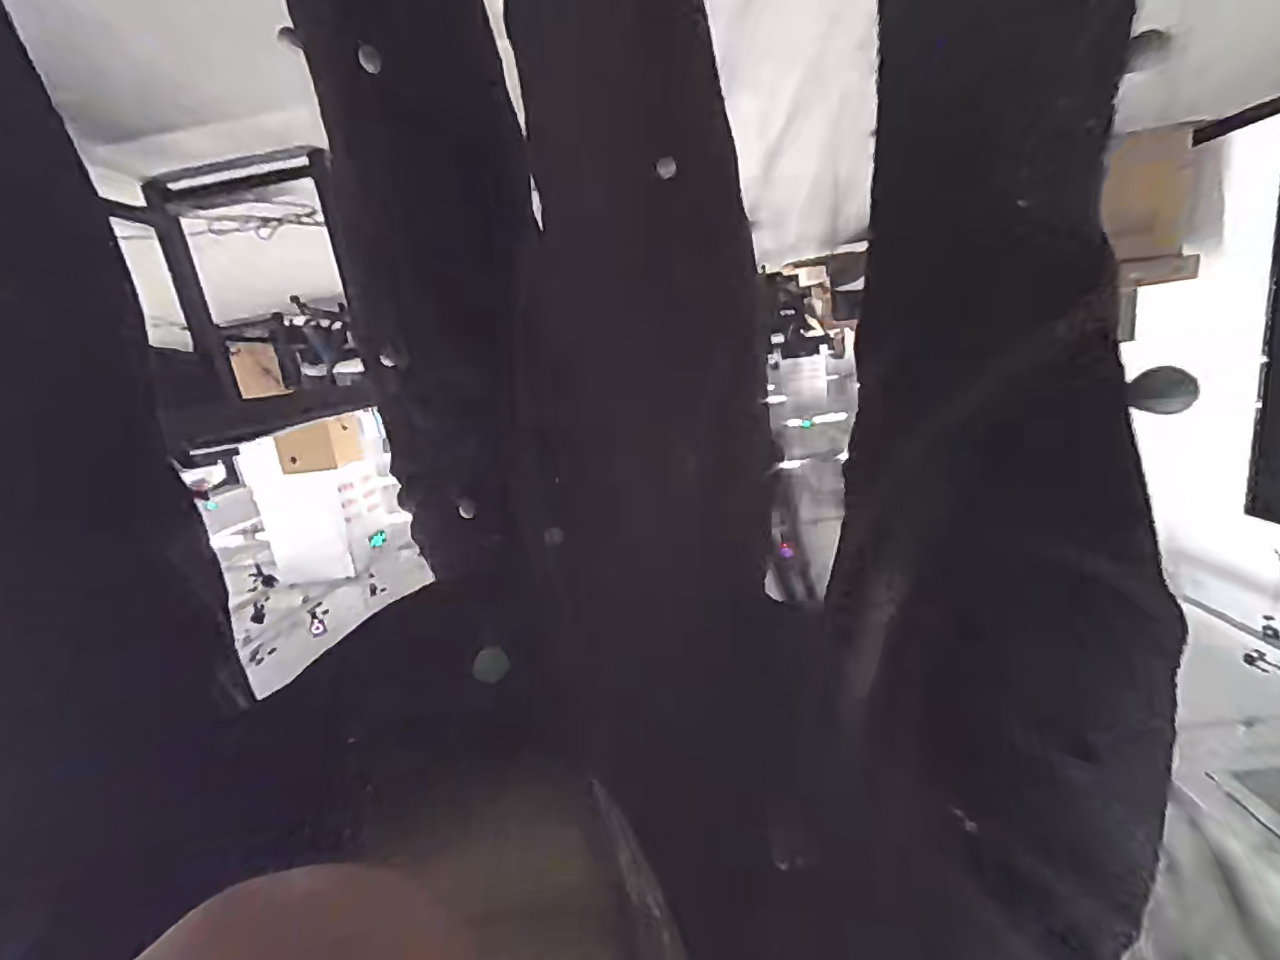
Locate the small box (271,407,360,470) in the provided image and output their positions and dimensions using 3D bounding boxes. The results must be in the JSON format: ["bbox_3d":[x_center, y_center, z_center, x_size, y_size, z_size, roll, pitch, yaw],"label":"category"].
[{"bbox_3d":[-1.014,-0.135,1.687,0.179,0.176,0.168,-7,-167,1],"label":"small box"}]
